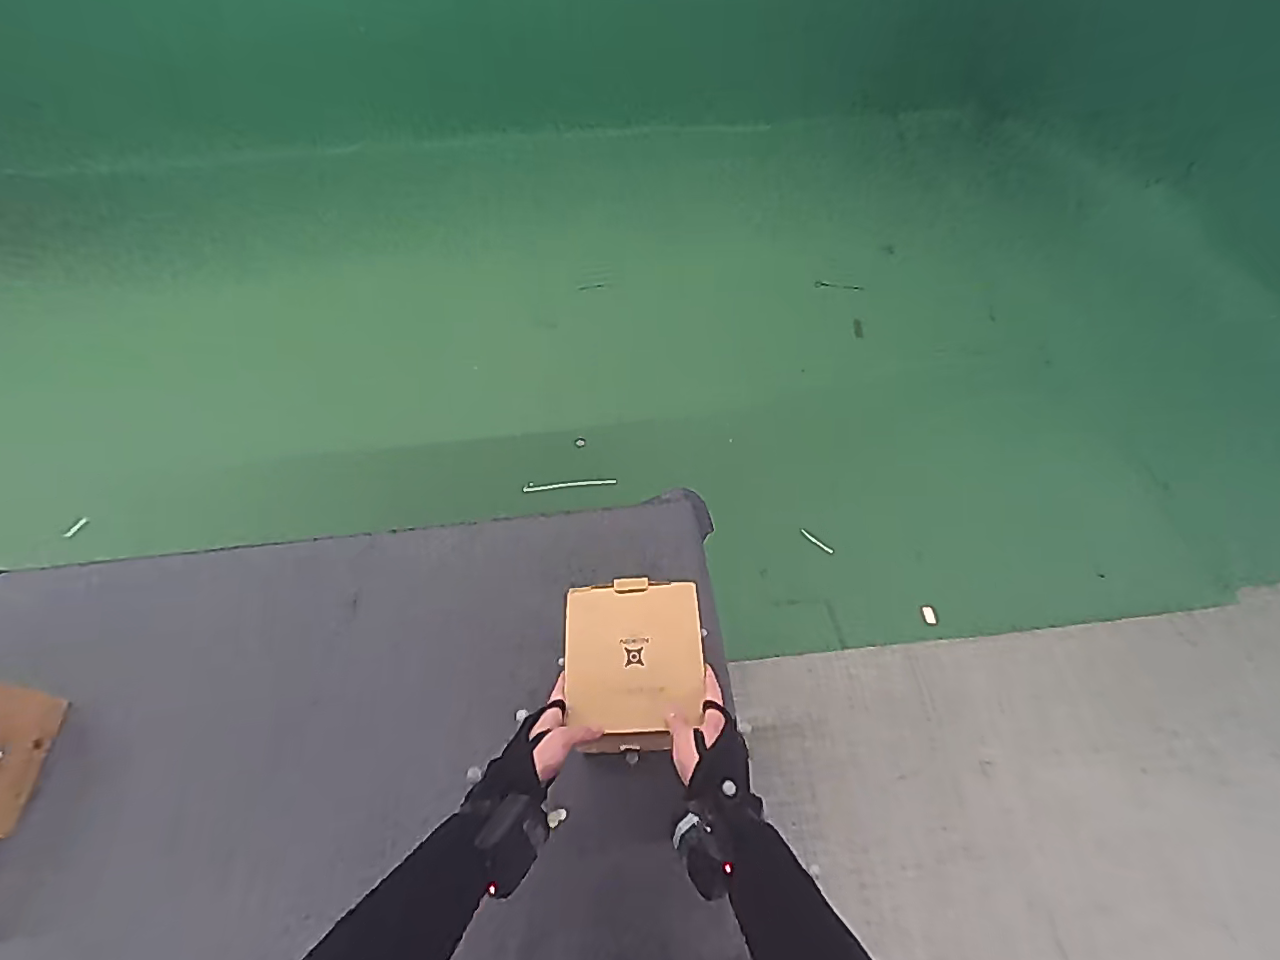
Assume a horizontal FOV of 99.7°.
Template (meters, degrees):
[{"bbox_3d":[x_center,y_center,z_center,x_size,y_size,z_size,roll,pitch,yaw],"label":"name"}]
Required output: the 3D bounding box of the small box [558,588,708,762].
[{"bbox_3d":[-0.005,0.253,0.693,0.168,0.176,0.179,-2,56,2],"label":"small box"}]

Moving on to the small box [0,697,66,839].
[{"bbox_3d":[-0.887,0.361,0.659,0.179,0.176,0.168,-6,56,-4],"label":"small box"}]
